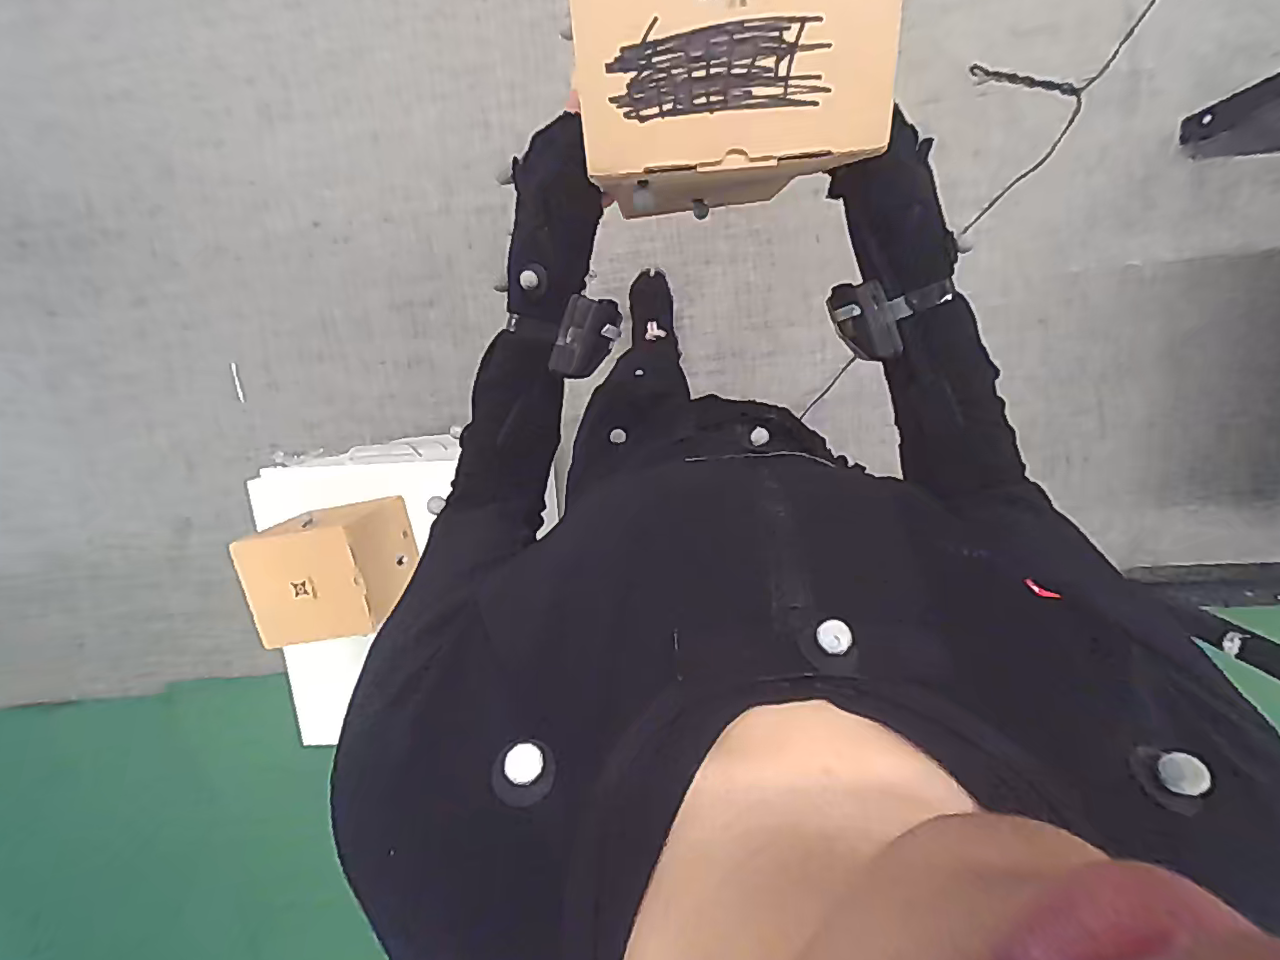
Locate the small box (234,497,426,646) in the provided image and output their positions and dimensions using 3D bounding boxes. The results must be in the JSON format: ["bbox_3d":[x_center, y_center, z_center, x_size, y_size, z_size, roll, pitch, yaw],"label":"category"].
[{"bbox_3d":[-0.465,0.133,0.838,0.179,0.176,0.168,-10,101,5],"label":"small box"}]

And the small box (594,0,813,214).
[{"bbox_3d":[0.052,-0.361,0.492,0.168,0.176,0.179,-6,107,5],"label":"small box"}]
